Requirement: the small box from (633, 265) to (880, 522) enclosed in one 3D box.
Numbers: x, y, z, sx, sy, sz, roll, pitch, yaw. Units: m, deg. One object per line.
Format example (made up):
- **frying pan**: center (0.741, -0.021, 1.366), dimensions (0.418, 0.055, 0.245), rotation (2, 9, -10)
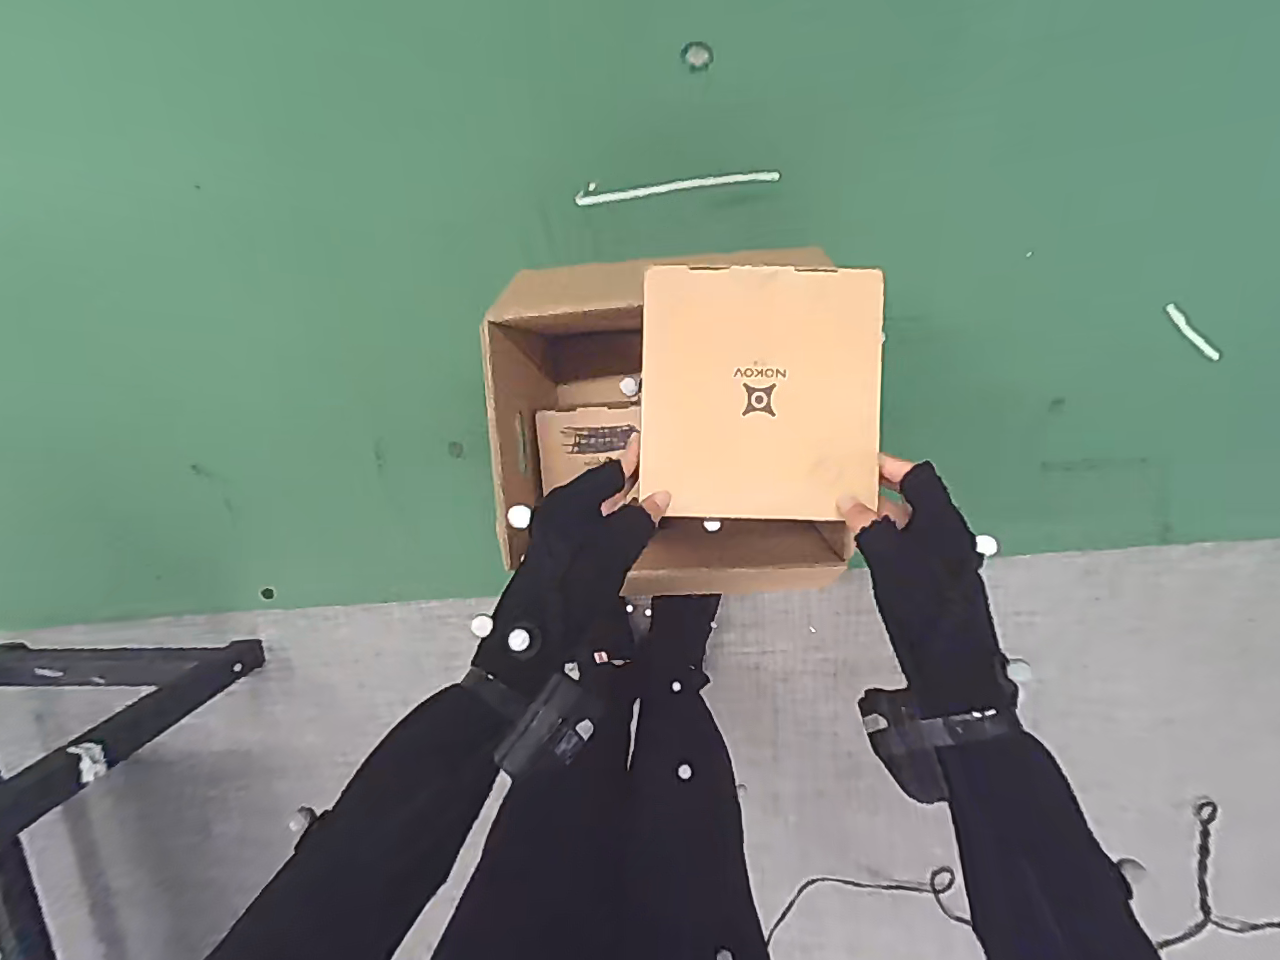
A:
- **small box**: center (0.083, -0.060, 0.452), dimensions (0.168, 0.176, 0.179), rotation (1, 89, 1)
